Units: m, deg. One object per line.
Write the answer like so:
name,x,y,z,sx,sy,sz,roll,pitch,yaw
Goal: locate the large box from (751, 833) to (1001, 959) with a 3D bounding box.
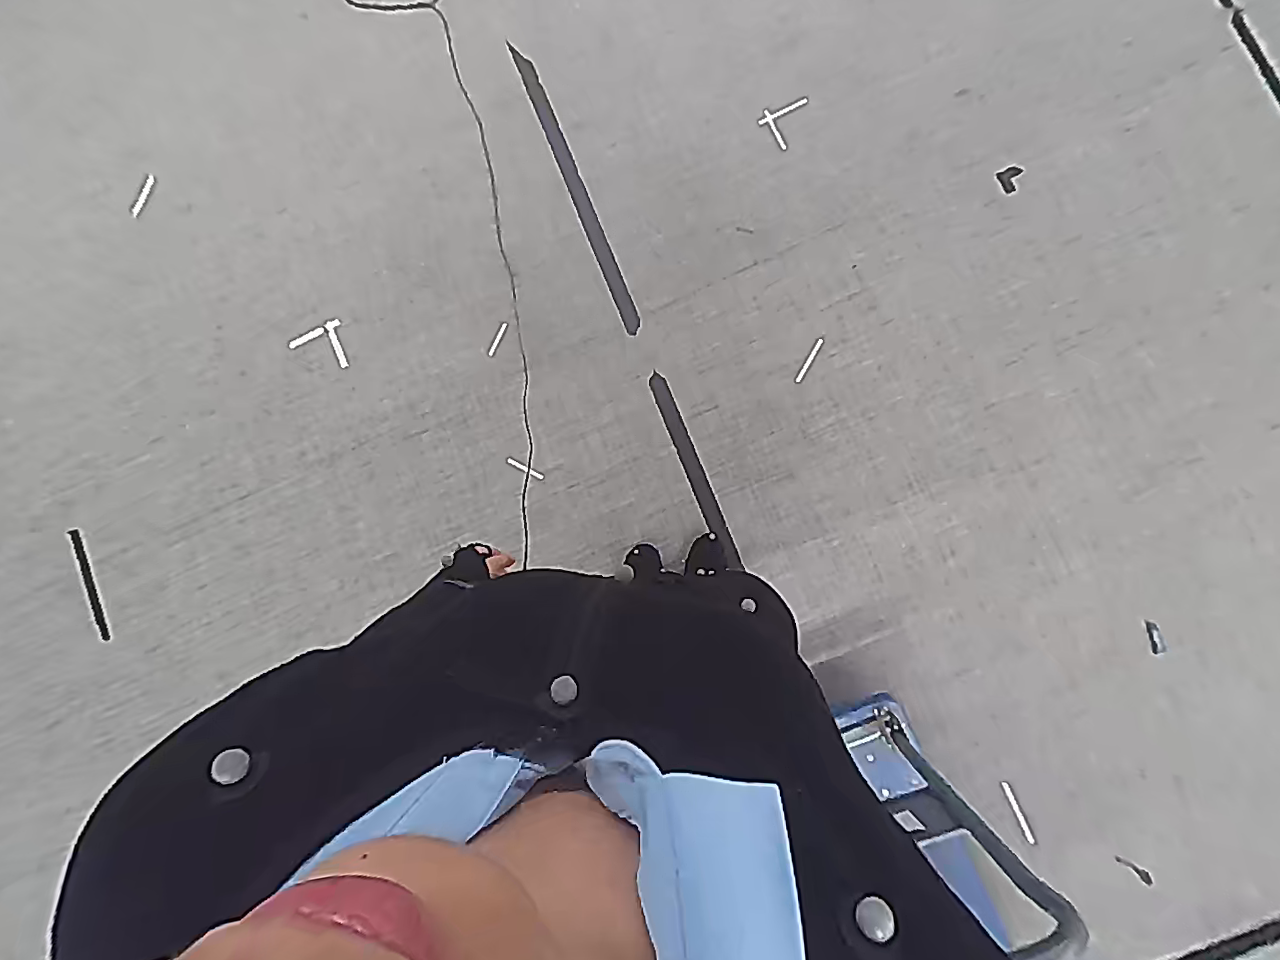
large box,0.478,0.991,1.065,0.408,0.320,0.320,-22,84,2
